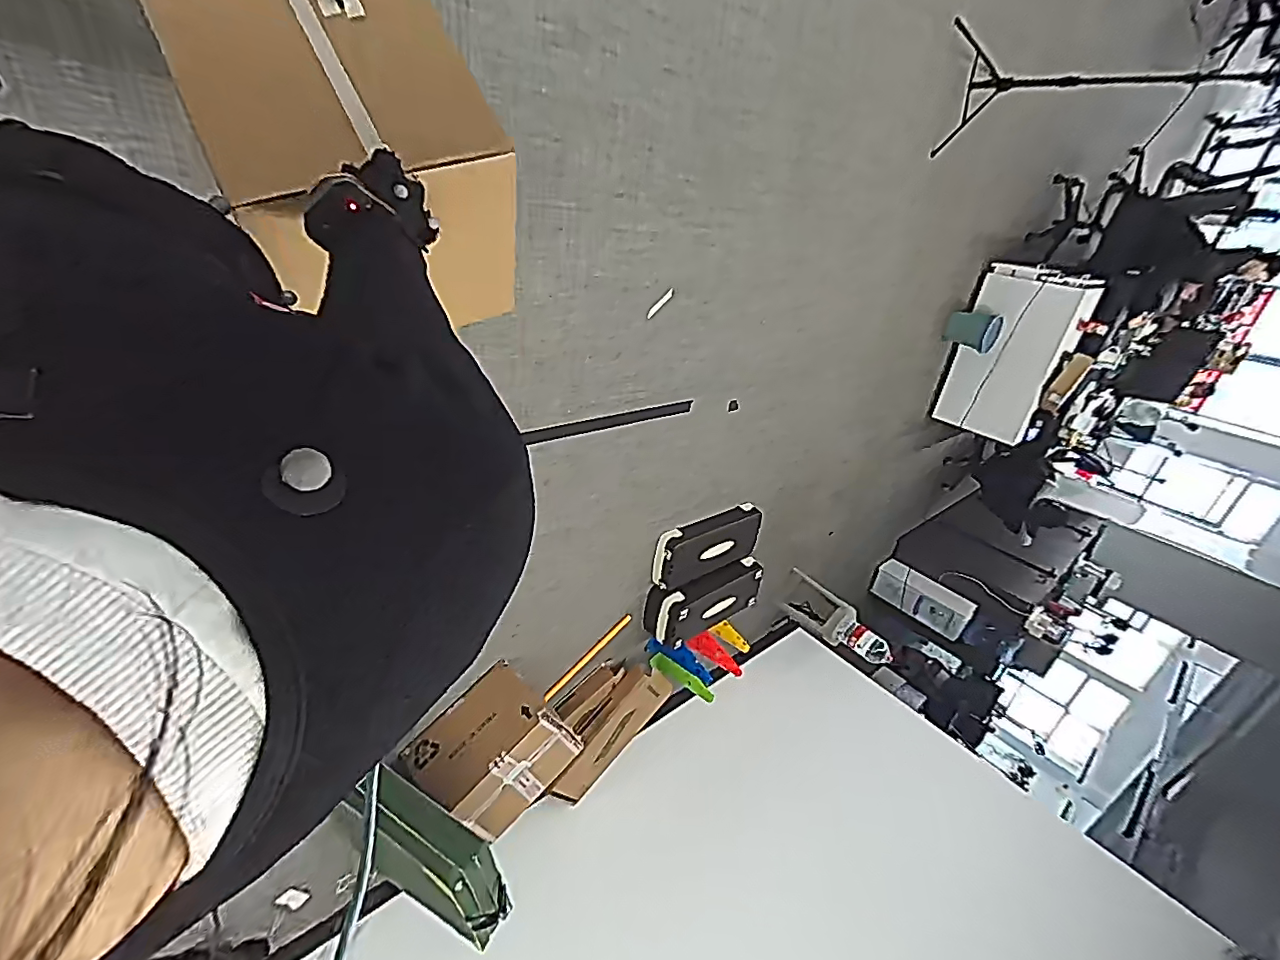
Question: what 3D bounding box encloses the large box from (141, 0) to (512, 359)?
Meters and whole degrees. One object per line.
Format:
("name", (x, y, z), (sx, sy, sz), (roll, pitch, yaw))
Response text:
("large box", (-0.414, -0.458, 0.785), (0.320, 0.408, 0.320), (-25, 168, -22))
